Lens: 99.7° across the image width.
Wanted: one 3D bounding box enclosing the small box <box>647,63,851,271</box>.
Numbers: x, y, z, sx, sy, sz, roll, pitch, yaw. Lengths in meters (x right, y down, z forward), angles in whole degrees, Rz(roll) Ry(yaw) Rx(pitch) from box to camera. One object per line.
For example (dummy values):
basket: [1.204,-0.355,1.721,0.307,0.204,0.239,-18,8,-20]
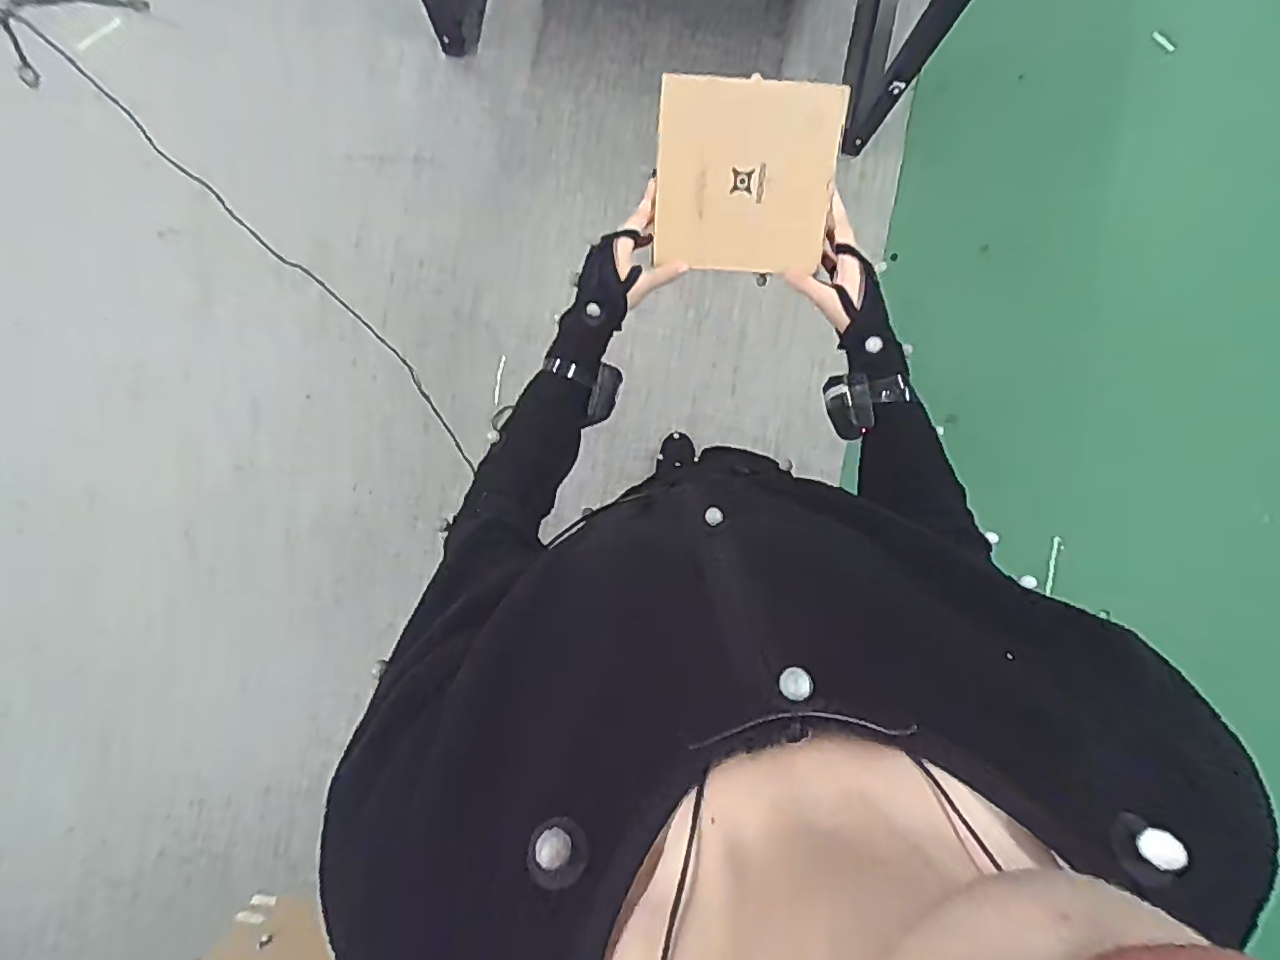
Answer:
small box: [0.100,-0.323,0.589,0.179,0.176,0.168,4,112,0]
